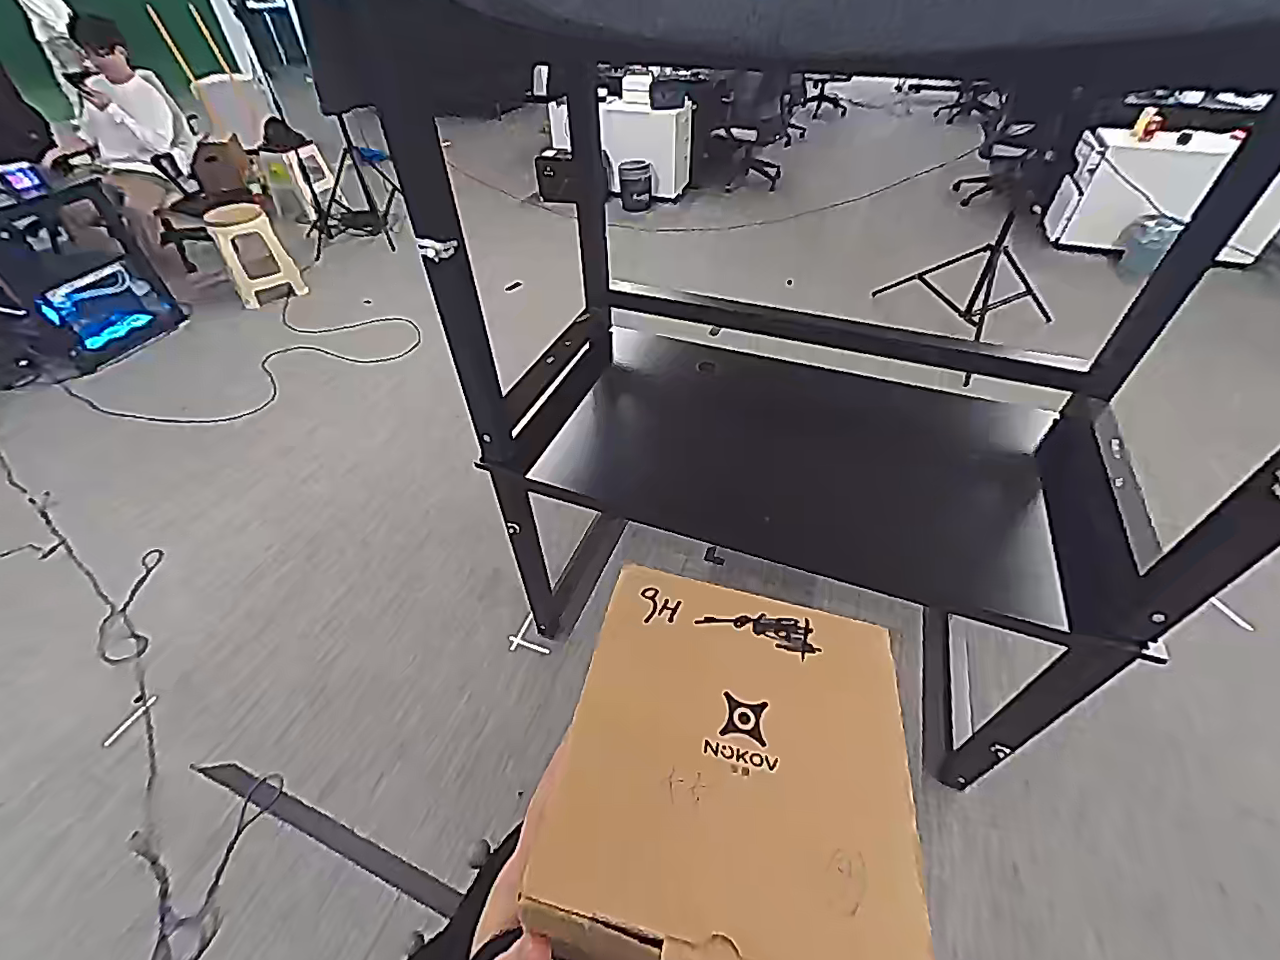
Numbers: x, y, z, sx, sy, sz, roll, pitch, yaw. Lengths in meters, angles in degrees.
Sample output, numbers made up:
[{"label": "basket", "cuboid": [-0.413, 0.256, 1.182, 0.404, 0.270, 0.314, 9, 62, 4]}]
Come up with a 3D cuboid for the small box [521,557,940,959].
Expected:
[{"label": "small box", "cuboid": [0.043, 0.179, 0.316, 0.168, 0.176, 0.179, 14, 44, 5]}]
